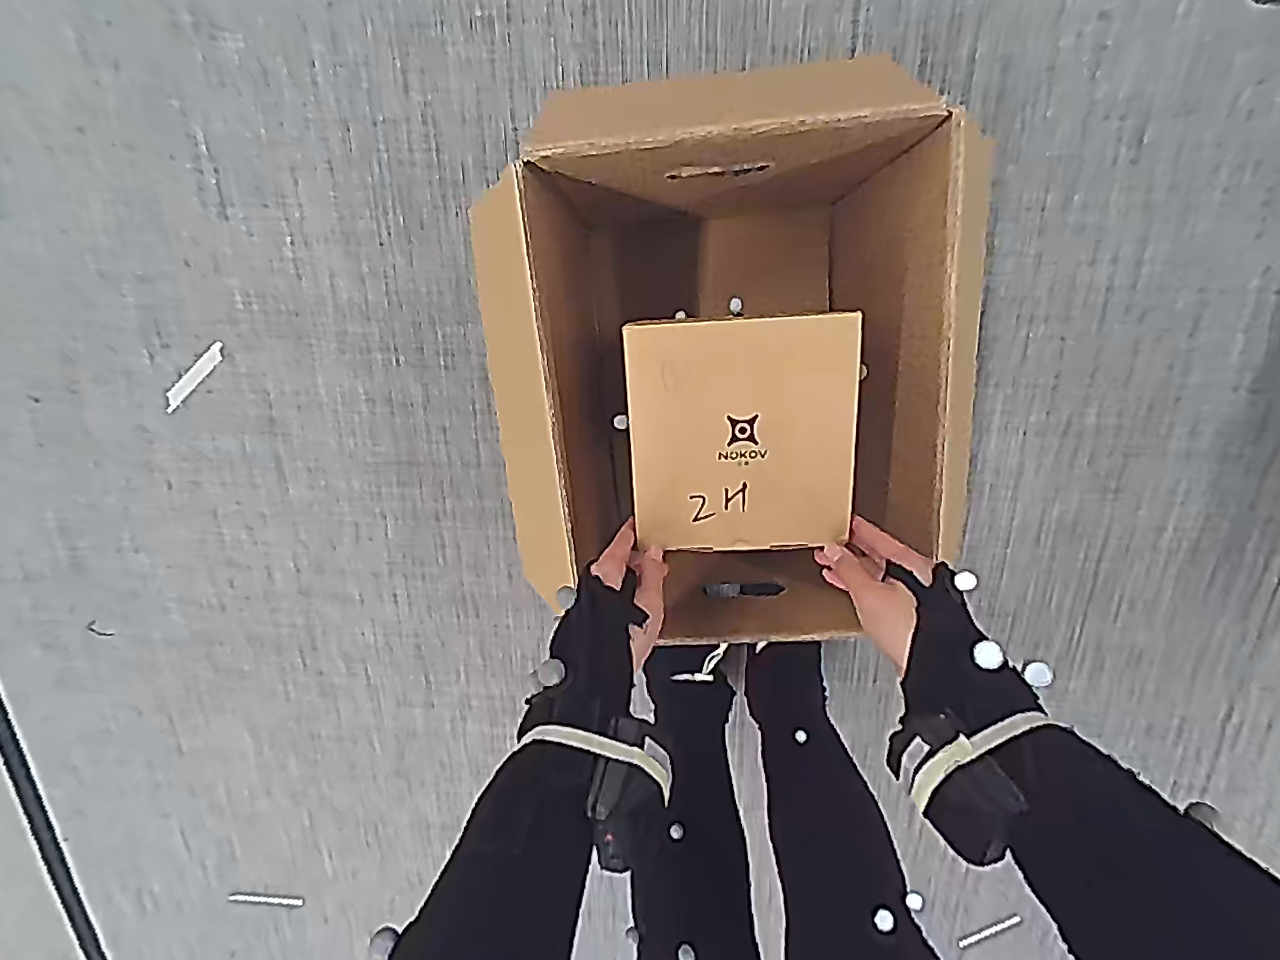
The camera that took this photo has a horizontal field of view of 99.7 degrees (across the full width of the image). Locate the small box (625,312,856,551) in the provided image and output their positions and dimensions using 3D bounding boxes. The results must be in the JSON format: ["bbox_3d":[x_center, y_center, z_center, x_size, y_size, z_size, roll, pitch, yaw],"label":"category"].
[{"bbox_3d":[0.077,-0.051,0.476,0.168,0.176,0.179,-2,107,4],"label":"small box"}]
